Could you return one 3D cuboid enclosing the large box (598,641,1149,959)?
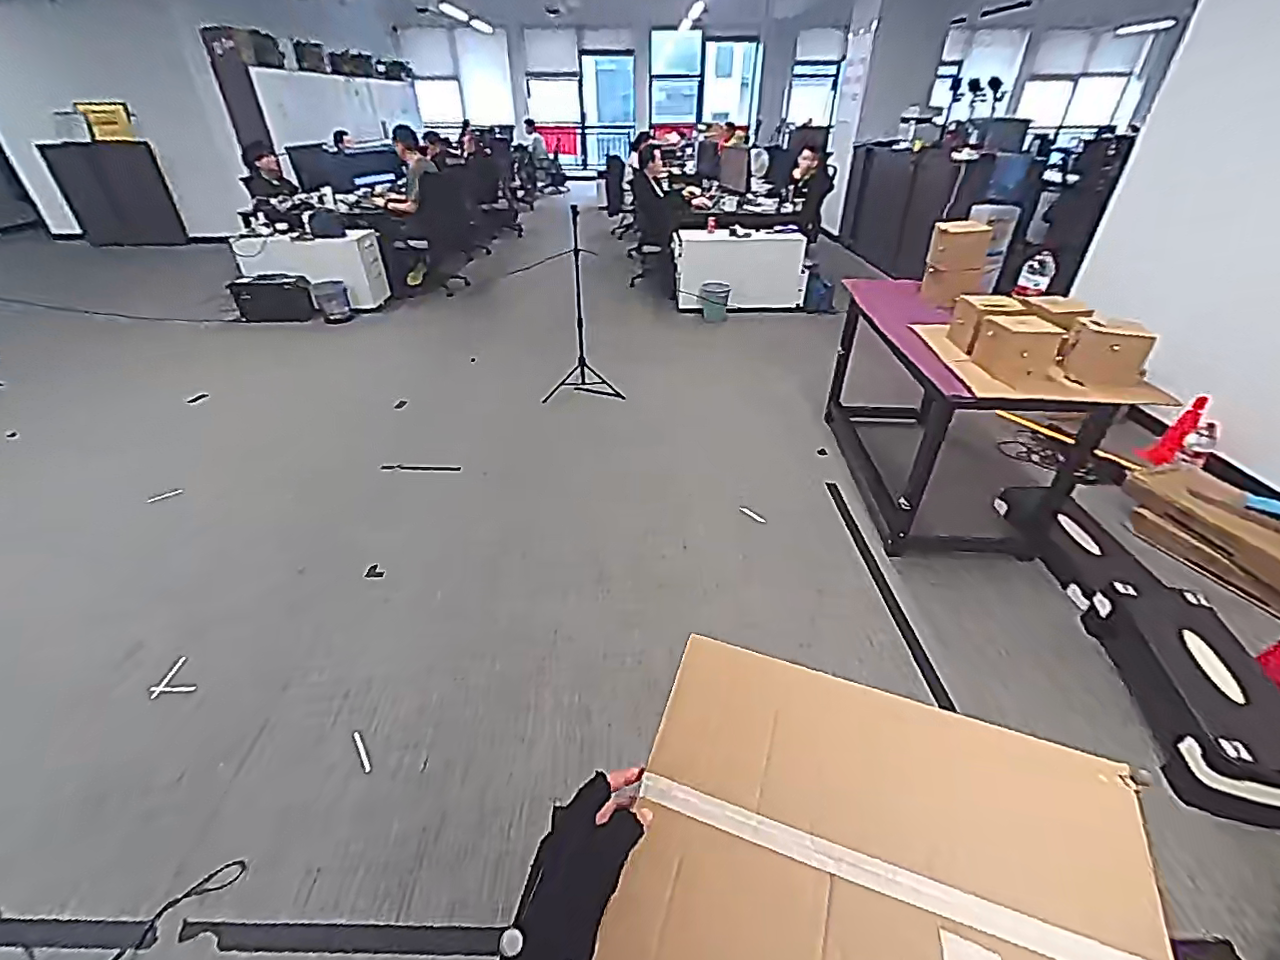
[{"bbox_3d":[0.201,0.426,0.564,0.408,0.320,0.320,13,50,15],"label":"large box"}]
